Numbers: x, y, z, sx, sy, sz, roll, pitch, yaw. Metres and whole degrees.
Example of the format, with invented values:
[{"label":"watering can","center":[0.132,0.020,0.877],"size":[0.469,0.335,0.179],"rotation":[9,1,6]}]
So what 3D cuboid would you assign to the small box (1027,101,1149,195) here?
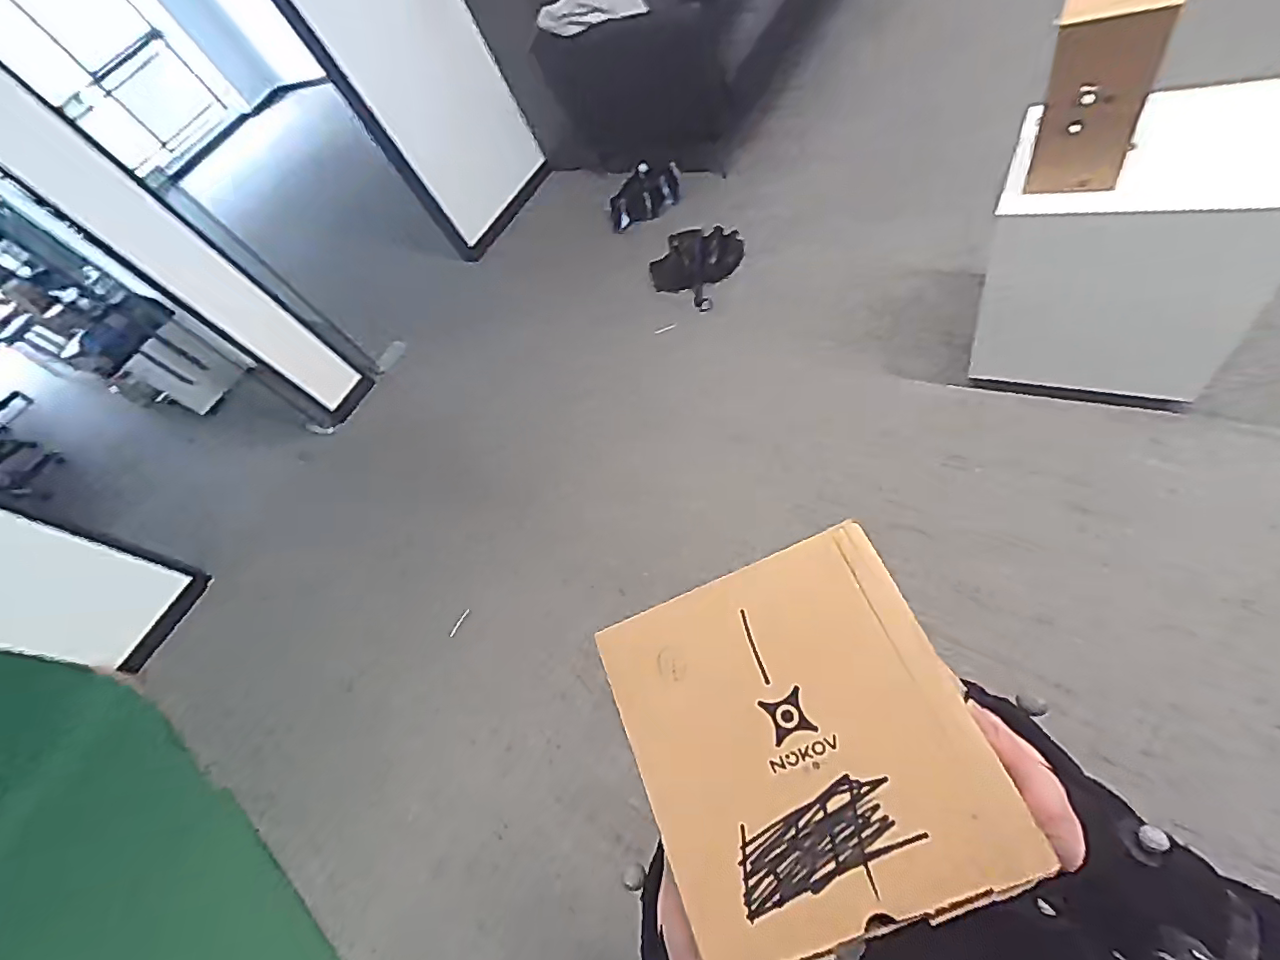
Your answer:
[{"label":"small box","center":[0.924,-0.721,1.117],"size":[0.168,0.176,0.179],"rotation":[15,66,31]}]

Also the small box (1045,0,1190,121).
[{"label":"small box","center":[0.865,-0.797,0.986],"size":[0.168,0.176,0.179],"rotation":[13,67,32]}]
